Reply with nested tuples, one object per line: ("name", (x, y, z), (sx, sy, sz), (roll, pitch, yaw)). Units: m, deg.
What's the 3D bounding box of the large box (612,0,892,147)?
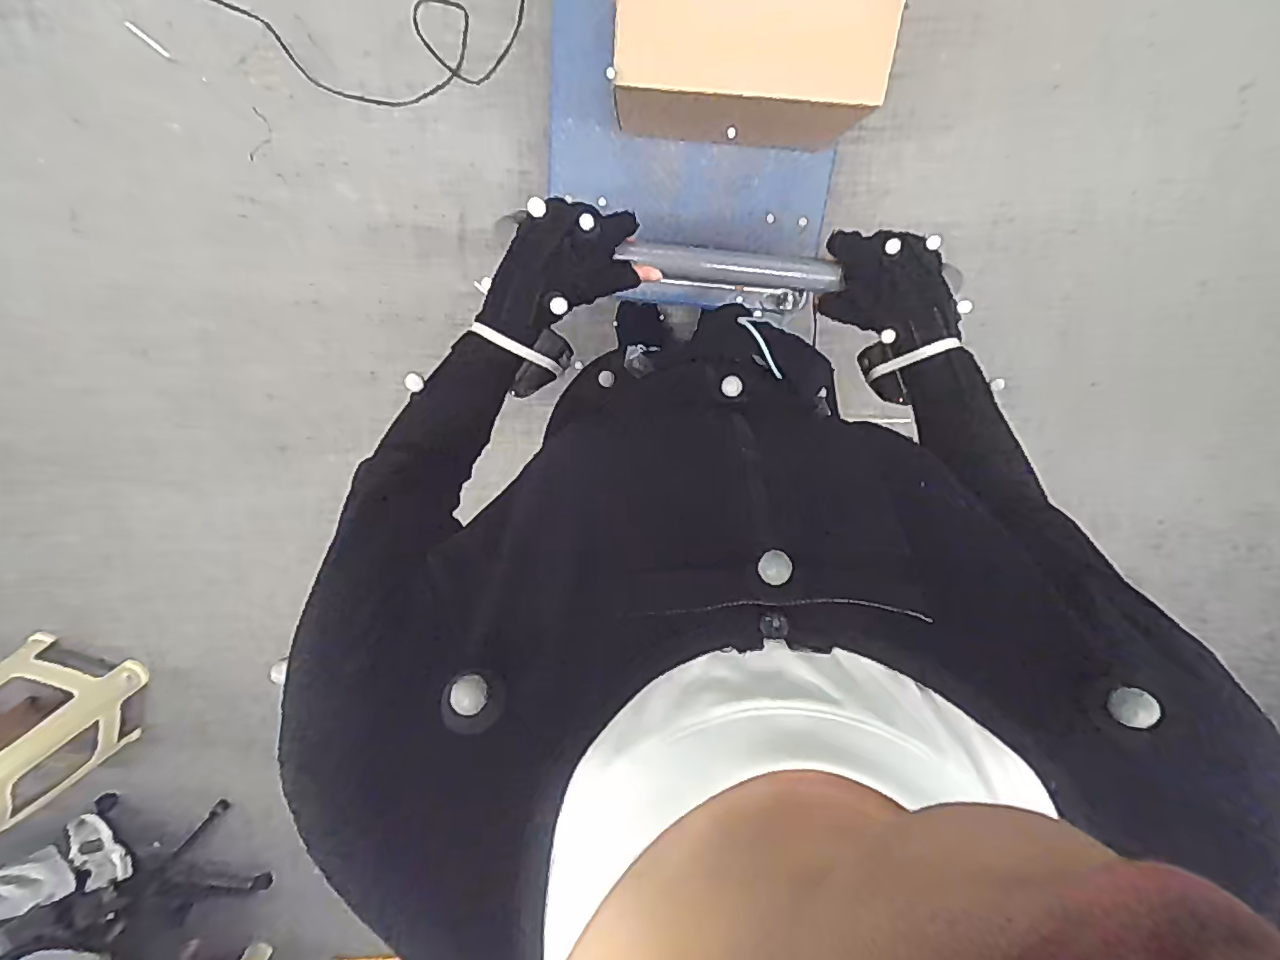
("large box", (0.169, -0.769, 0.901), (0.408, 0.320, 0.320), (4, 110, 0))
